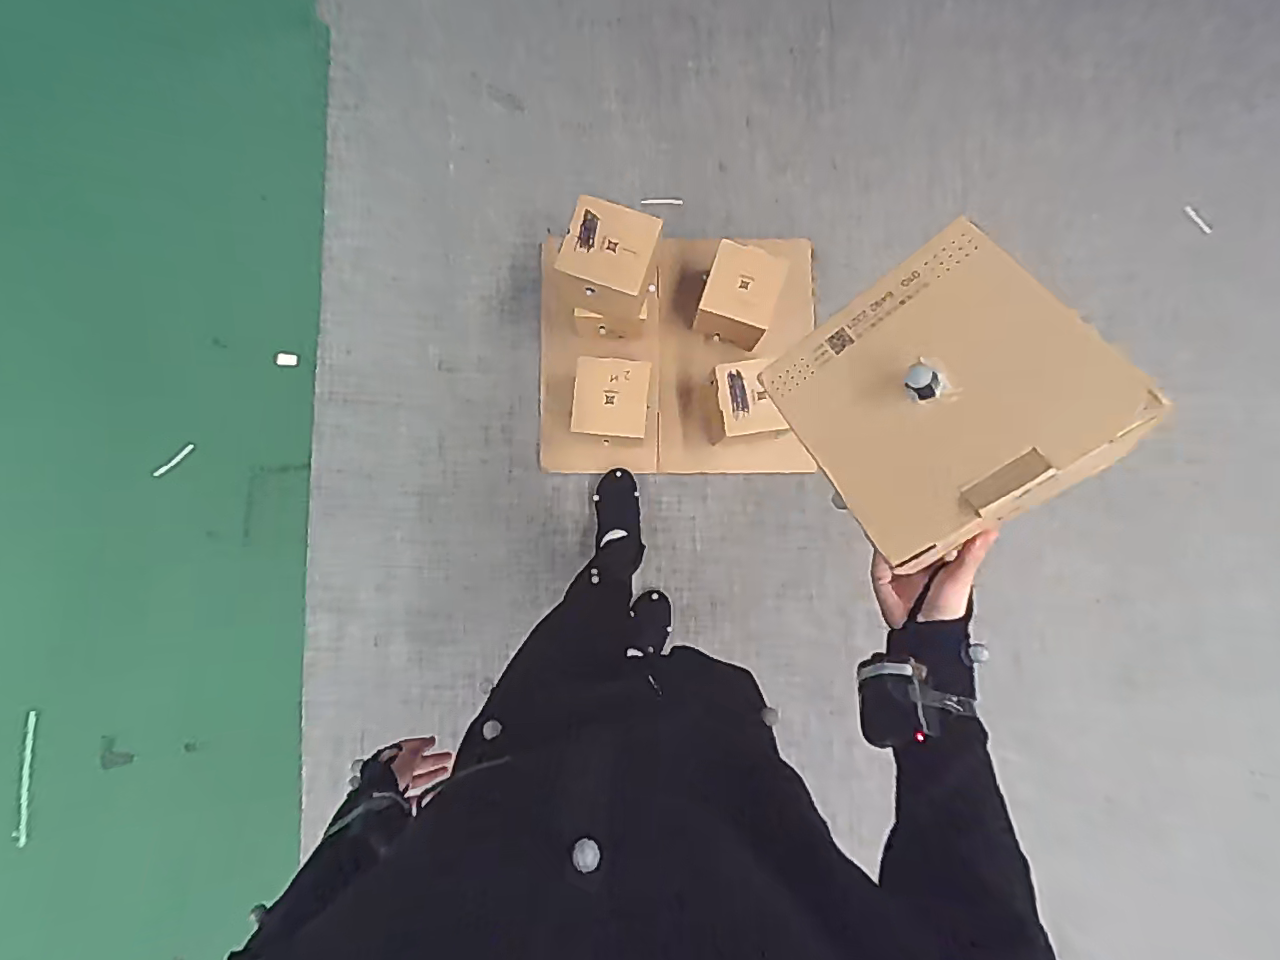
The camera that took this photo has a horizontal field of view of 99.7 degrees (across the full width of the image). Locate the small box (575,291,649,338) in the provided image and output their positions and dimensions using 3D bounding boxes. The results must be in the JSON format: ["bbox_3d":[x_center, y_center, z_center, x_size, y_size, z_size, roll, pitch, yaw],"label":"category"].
[{"bbox_3d":[-0.063,-0.451,1.296,0.168,0.176,0.179,2,86,-1],"label":"small box"}]

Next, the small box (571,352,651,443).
[{"bbox_3d":[-0.065,-0.187,1.276,0.168,0.176,0.179,6,86,-1],"label":"small box"}]

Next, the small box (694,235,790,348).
[{"bbox_3d":[0.236,-0.443,1.295,0.168,0.176,0.179,19,86,1],"label":"small box"}]

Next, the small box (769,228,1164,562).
[{"bbox_3d":[0.226,-0.056,0.415,0.168,0.179,0.176,-37,63,21],"label":"small box"}]

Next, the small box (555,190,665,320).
[{"bbox_3d":[-0.061,-0.459,1.132,0.179,0.176,0.168,19,86,0],"label":"small box"}]
